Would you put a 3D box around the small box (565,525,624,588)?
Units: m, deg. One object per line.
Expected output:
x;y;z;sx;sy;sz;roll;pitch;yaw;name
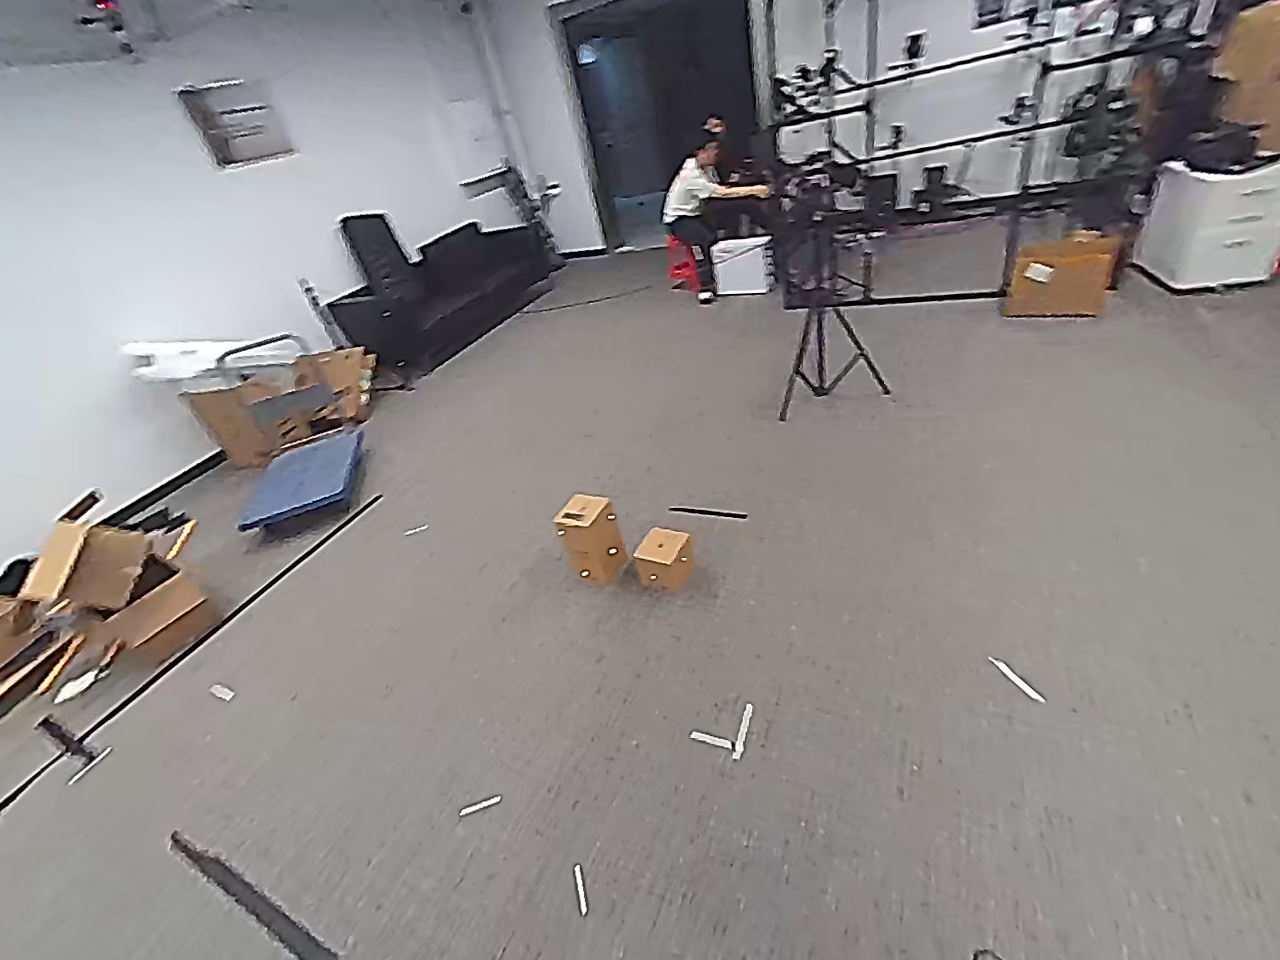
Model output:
-0.181;0.317;2.242;0.168;0.176;0.179;7;40;30;small box

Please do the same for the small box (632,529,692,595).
0.093;0.323;2.120;0.168;0.176;0.179;9;40;30;small box
